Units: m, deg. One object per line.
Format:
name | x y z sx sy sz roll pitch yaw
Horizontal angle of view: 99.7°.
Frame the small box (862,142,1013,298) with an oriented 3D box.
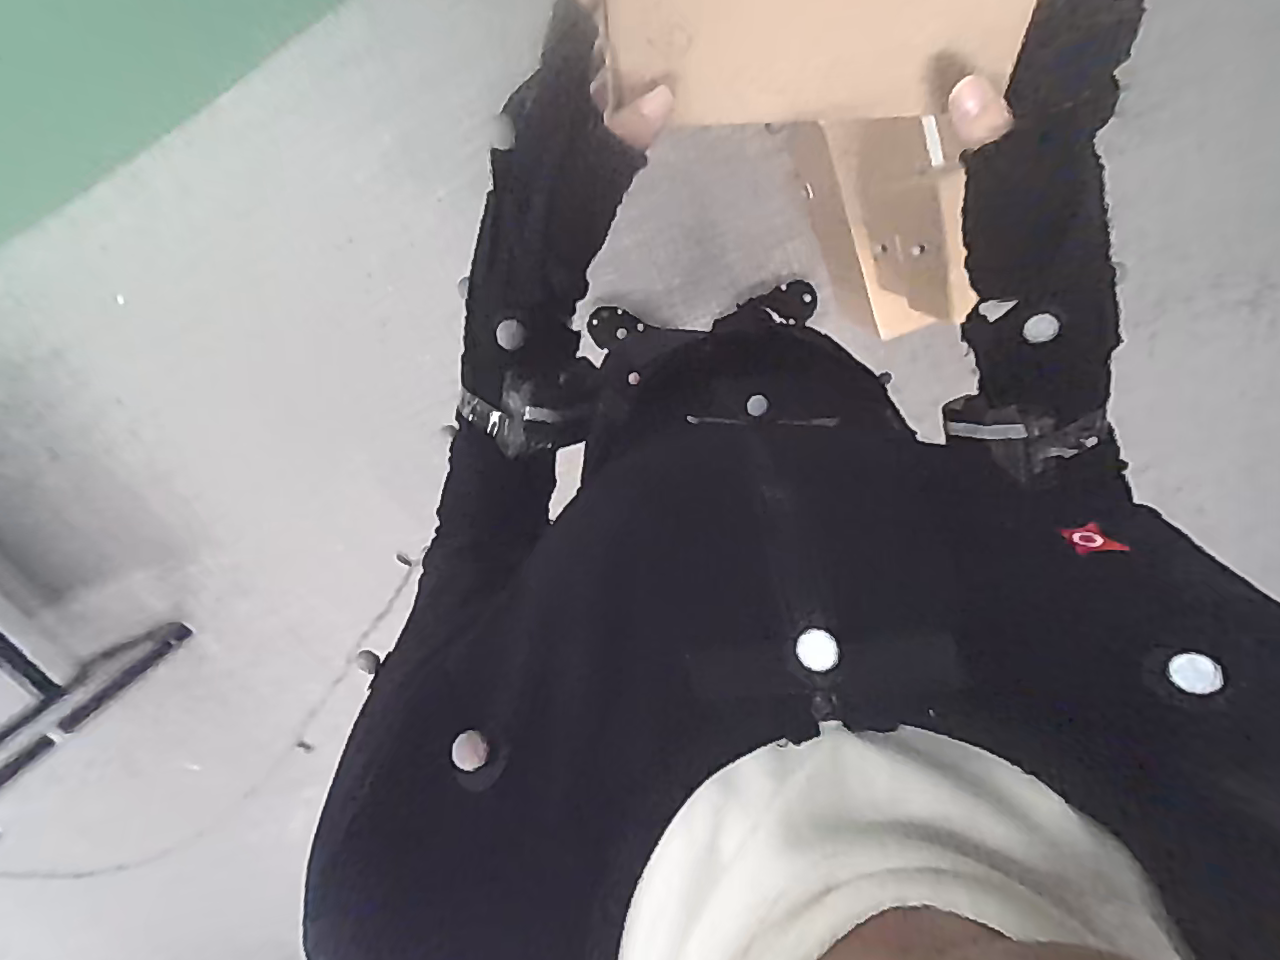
small box | 0.471 -0.408 0.867 0.179 0.176 0.168 -17 112 14
